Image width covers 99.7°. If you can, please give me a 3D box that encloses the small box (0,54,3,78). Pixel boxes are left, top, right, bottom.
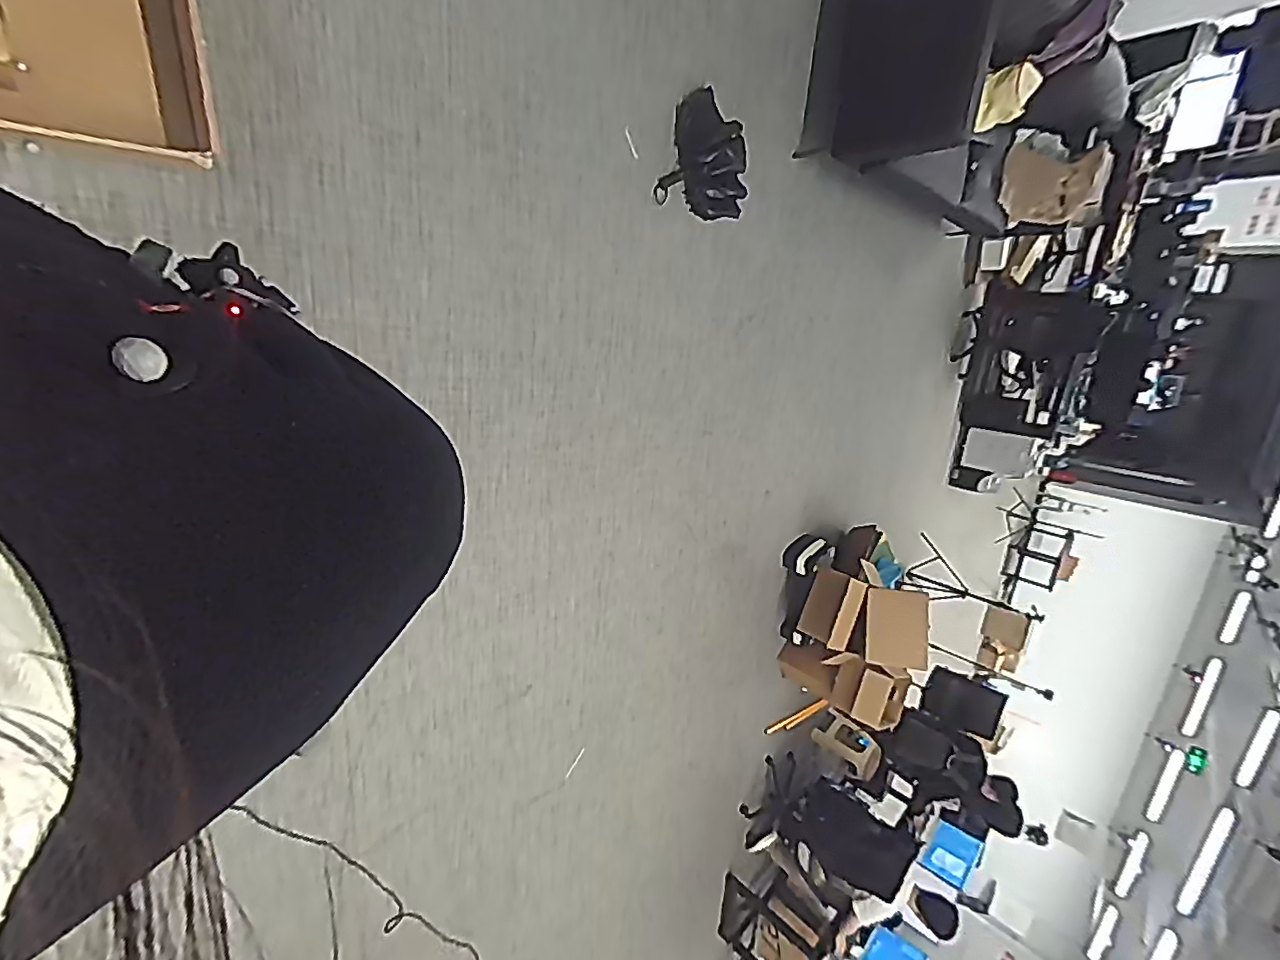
[{"bbox_3d":[-1.005,-0.668,0.726,0.179,0.176,0.168,-10,110,-43],"label":"small box"}]
